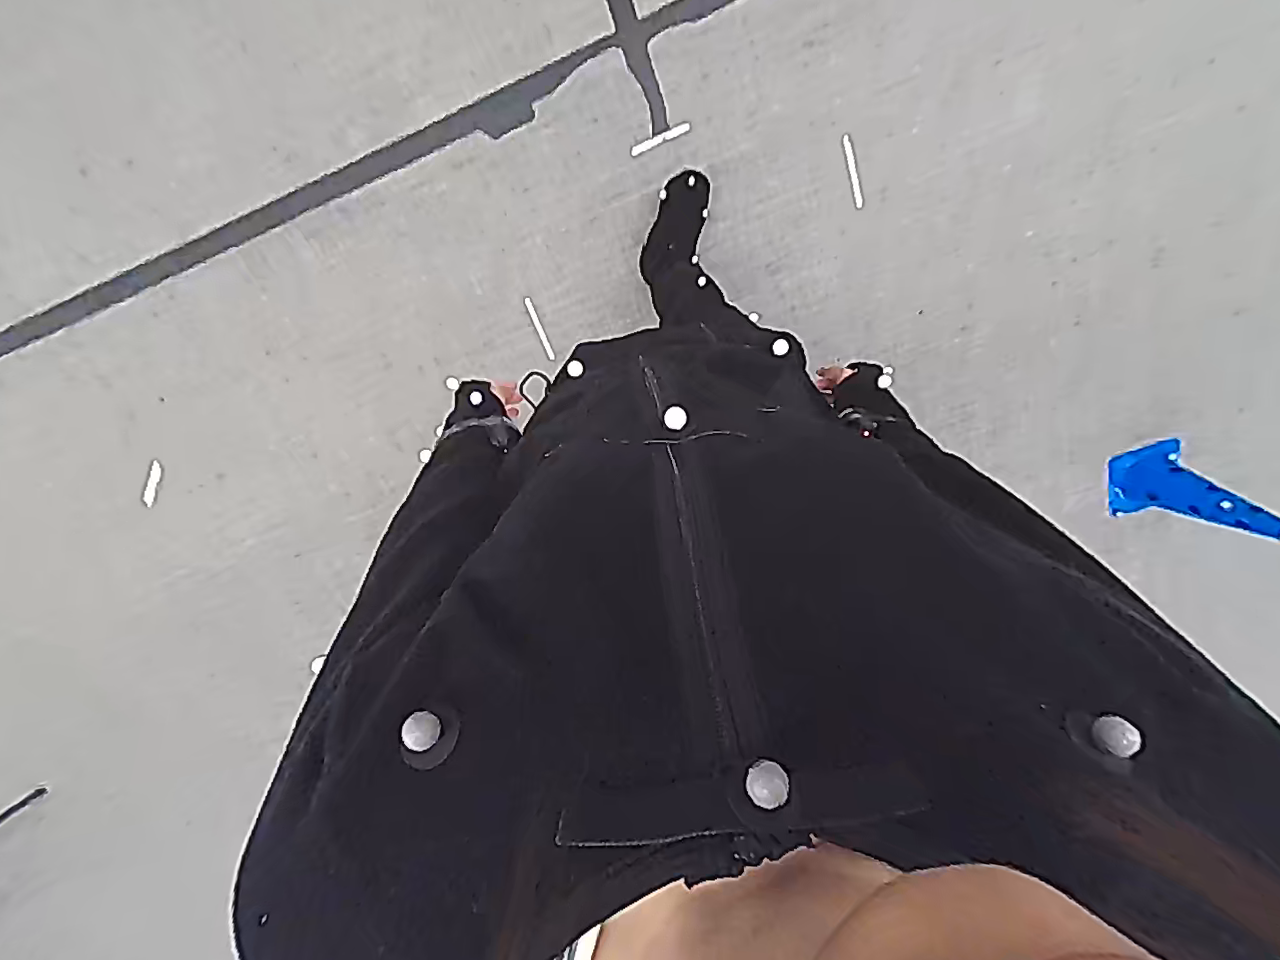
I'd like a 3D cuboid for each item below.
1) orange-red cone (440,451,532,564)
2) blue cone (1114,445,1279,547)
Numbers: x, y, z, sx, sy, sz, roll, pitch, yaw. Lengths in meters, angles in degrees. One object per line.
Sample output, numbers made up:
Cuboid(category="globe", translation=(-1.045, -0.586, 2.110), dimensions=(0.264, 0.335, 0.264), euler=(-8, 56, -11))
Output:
Cuboid(category="orange-red cone", translation=(-0.397, 0.093, 1.267), dimensions=(0.198, 0.360, 0.199), euler=(-18, 110, 3))
Cuboid(category="blue cone", translation=(1.446, 0.064, 1.379), dimensions=(0.193, 0.380, 0.192), euler=(-18, 111, 4))
